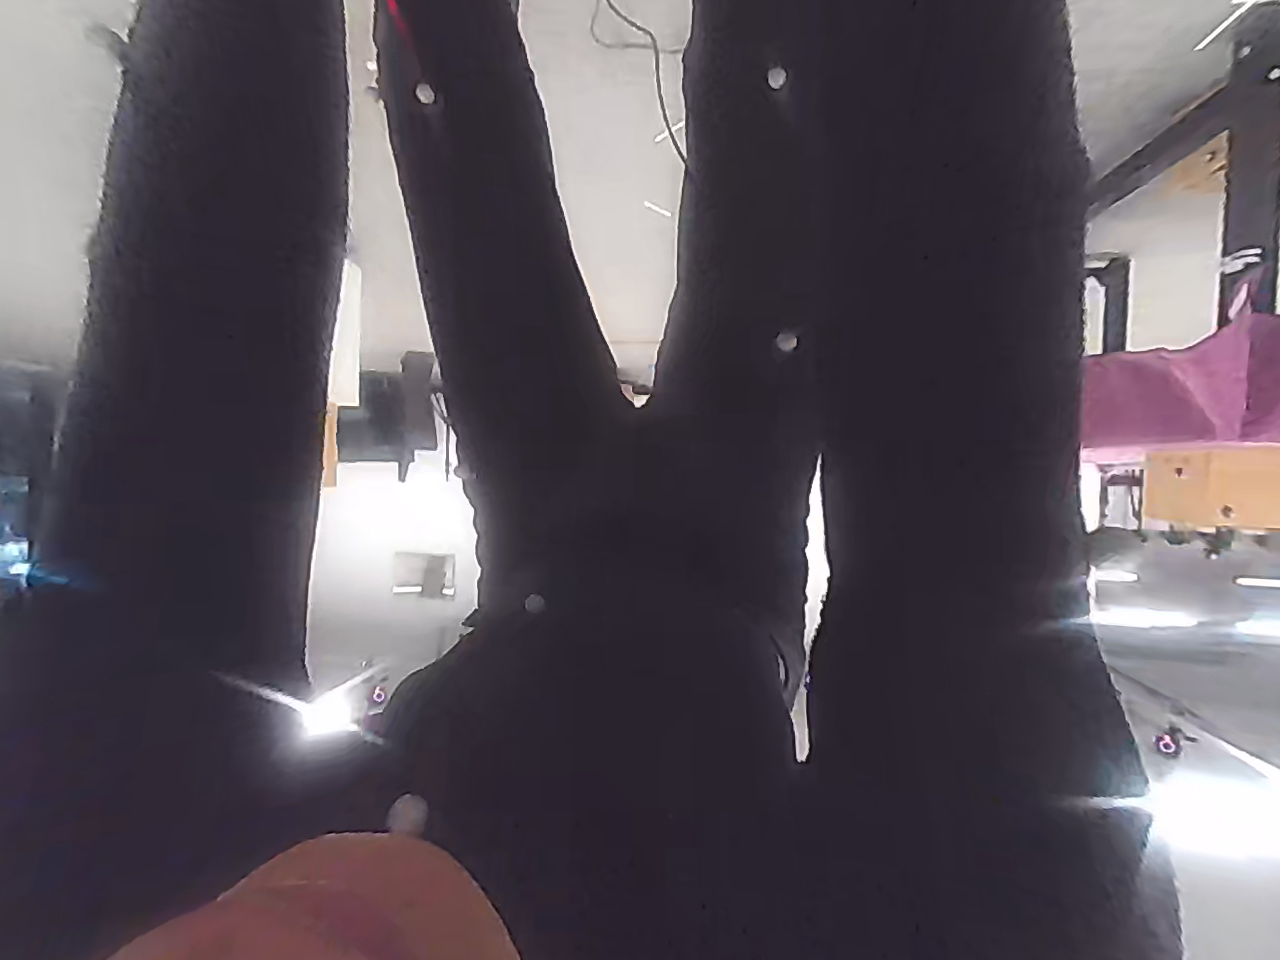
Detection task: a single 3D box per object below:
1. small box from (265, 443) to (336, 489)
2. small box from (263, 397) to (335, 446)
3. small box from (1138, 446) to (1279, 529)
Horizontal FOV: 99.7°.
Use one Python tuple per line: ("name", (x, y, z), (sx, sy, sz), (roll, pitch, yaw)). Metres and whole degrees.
("small box", (-1.290, -0.056, 2.059), (0.168, 0.176, 0.179), (4, -177, 8))
("small box", (-1.285, -0.220, 2.048), (0.179, 0.176, 0.168), (3, -178, 4))
("small box", (1.259, 0.012, 1.189), (0.179, 0.176, 0.168), (2, -179, 7))
